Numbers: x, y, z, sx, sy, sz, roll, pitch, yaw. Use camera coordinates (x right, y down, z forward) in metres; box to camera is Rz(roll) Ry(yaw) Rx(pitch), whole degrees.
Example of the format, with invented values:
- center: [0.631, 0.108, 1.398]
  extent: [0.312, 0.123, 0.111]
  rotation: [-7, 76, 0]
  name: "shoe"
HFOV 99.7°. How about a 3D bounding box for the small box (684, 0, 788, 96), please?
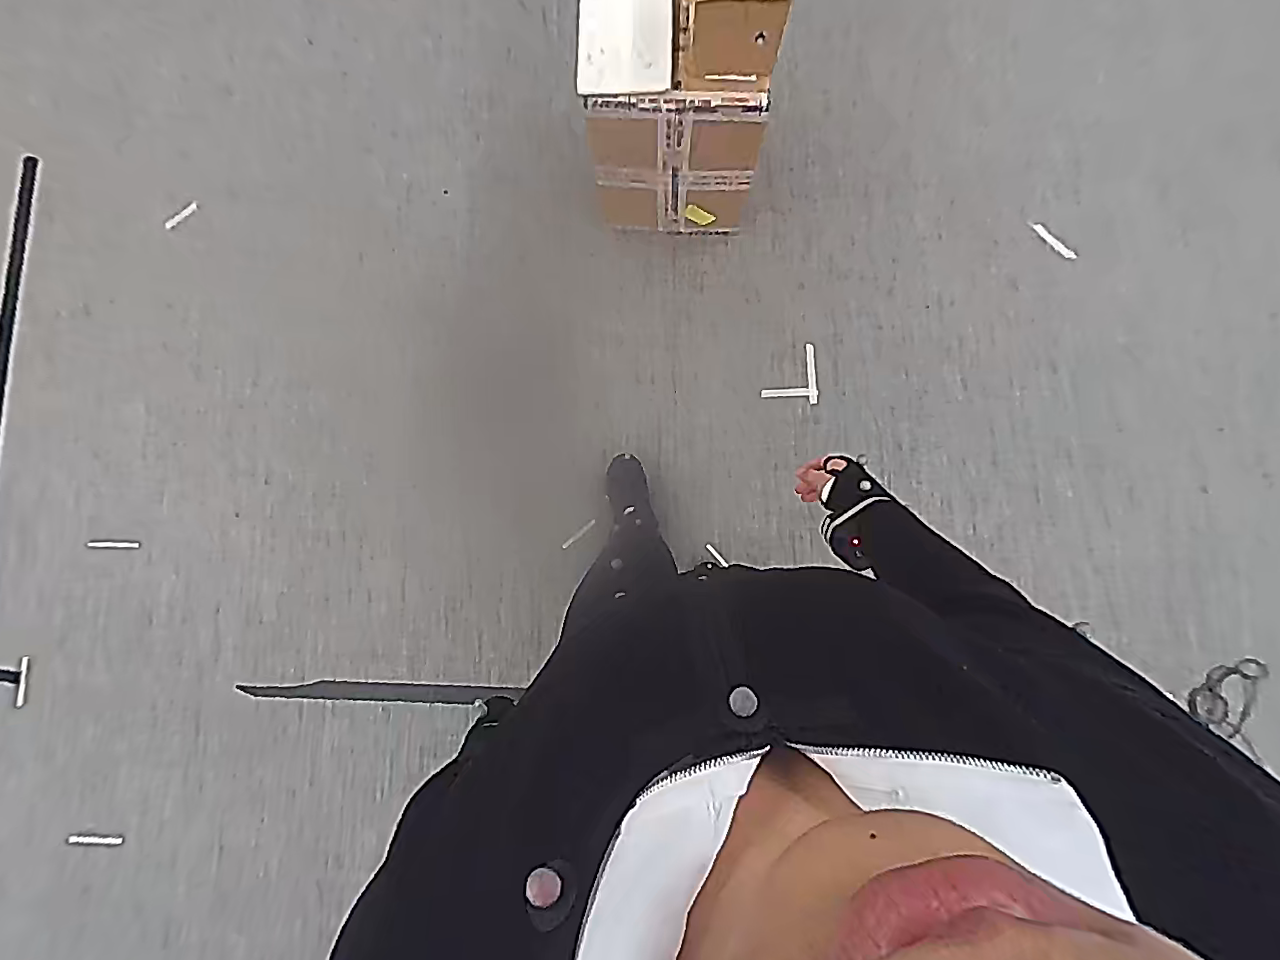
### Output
- center: [0.179, -0.890, 1.057]
  extent: [0.179, 0.176, 0.168]
  rotation: [-1, 85, 1]
  name: "small box"
